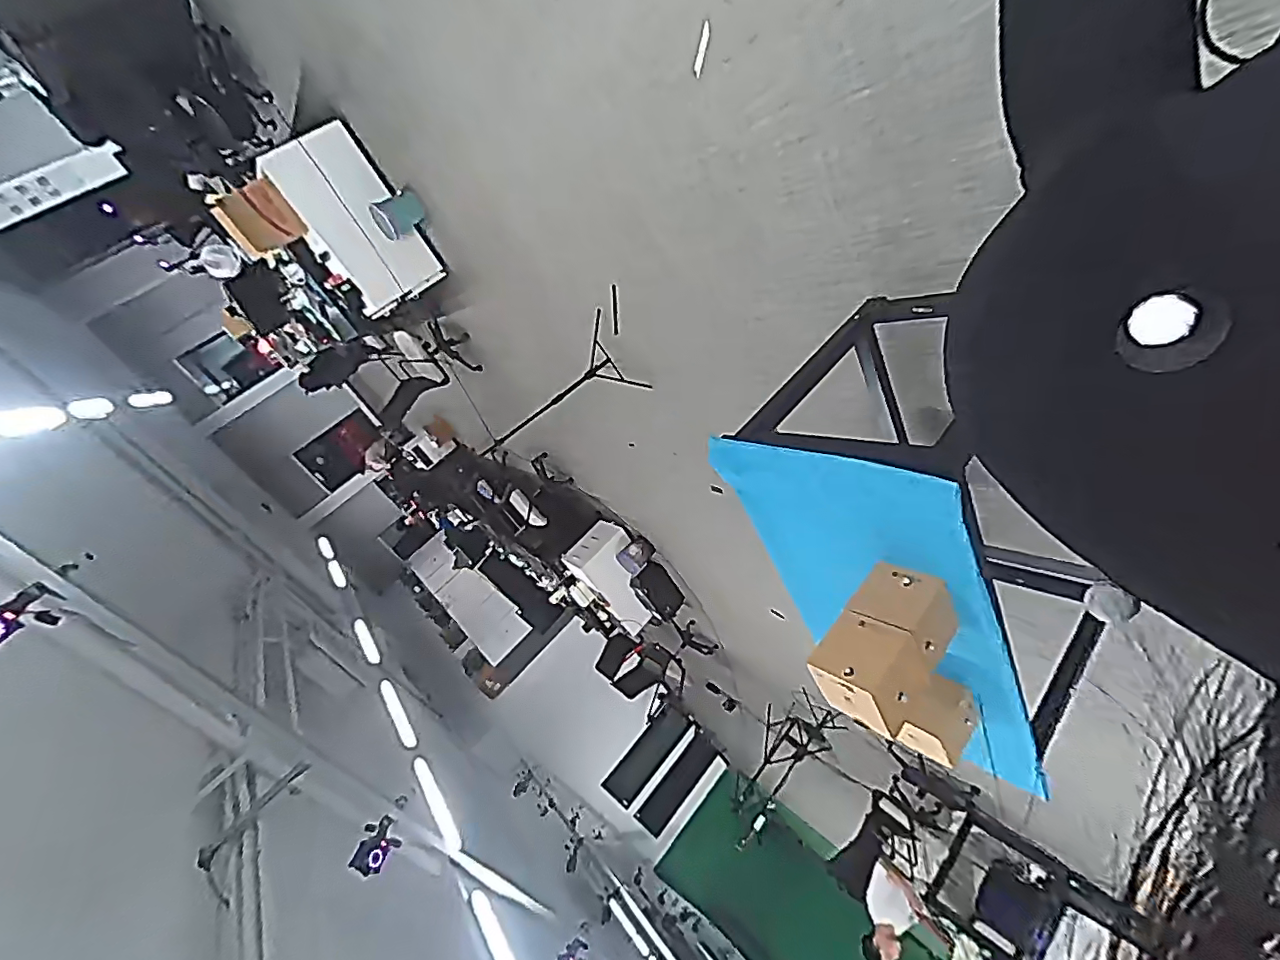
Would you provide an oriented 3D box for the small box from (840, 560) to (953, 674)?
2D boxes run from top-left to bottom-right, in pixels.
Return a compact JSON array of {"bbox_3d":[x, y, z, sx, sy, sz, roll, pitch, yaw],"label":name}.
[{"bbox_3d":[0.618,0.324,1.292,0.168,0.176,0.179,14,142,54],"label":"small box"}]

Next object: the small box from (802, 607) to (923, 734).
[{"bbox_3d":[0.508,0.424,1.225,0.168,0.176,0.179,10,138,57],"label":"small box"}]

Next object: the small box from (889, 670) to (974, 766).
[{"bbox_3d":[0.809,0.655,1.530,0.179,0.176,0.168,14,143,51],"label":"small box"}]
